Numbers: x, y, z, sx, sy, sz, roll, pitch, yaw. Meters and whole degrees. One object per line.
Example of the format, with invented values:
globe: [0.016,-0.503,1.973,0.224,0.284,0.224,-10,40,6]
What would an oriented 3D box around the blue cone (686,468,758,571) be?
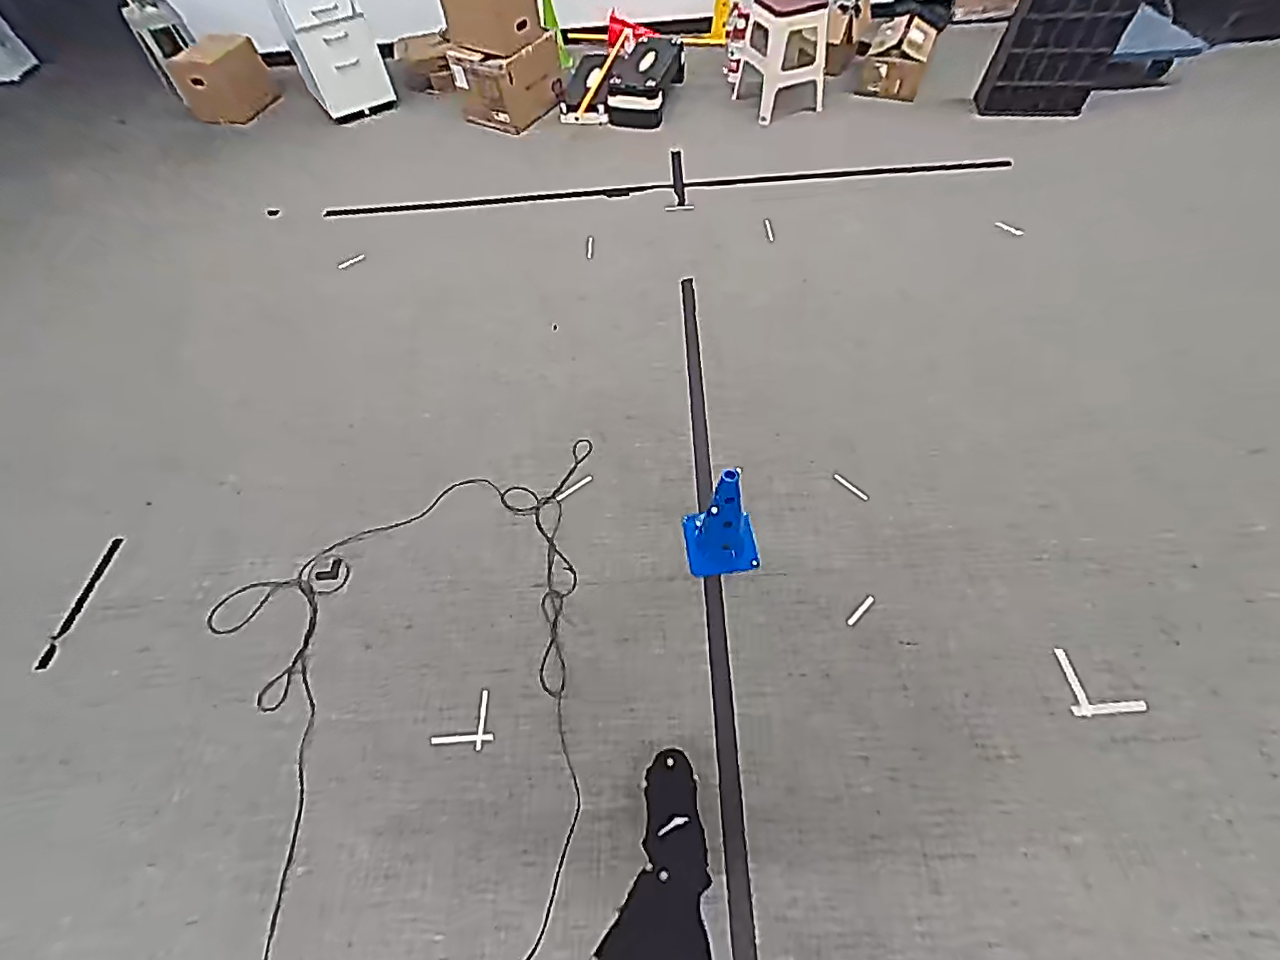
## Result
blue cone: [0.229,0.088,1.444,0.192,0.380,0.193,-5,57,-1]
